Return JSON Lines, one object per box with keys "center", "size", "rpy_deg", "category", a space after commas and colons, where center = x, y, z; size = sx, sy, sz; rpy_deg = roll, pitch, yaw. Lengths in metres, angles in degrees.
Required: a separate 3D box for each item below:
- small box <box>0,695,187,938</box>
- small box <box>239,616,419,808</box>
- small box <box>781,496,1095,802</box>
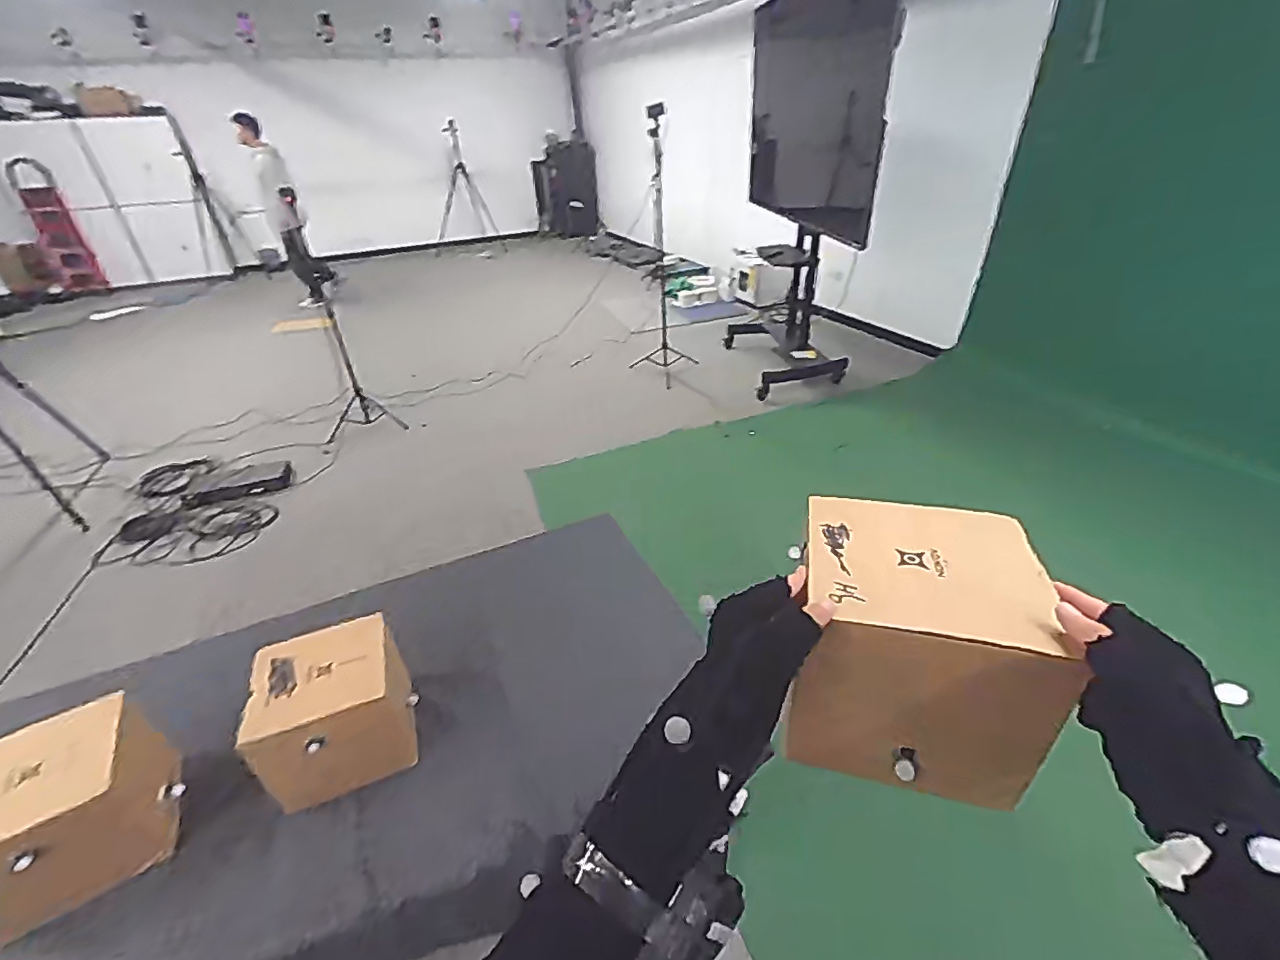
{"center": [-0.729, 0.424, 0.691], "size": [0.179, 0.176, 0.168], "rpy_deg": [-21, 38, -27], "category": "small box"}
{"center": [-0.442, 0.339, 0.796], "size": [0.179, 0.176, 0.168], "rpy_deg": [-15, 35, -19], "category": "small box"}
{"center": [0.226, 0.137, 0.463], "size": [0.179, 0.176, 0.168], "rpy_deg": [8, 30, 14], "category": "small box"}
